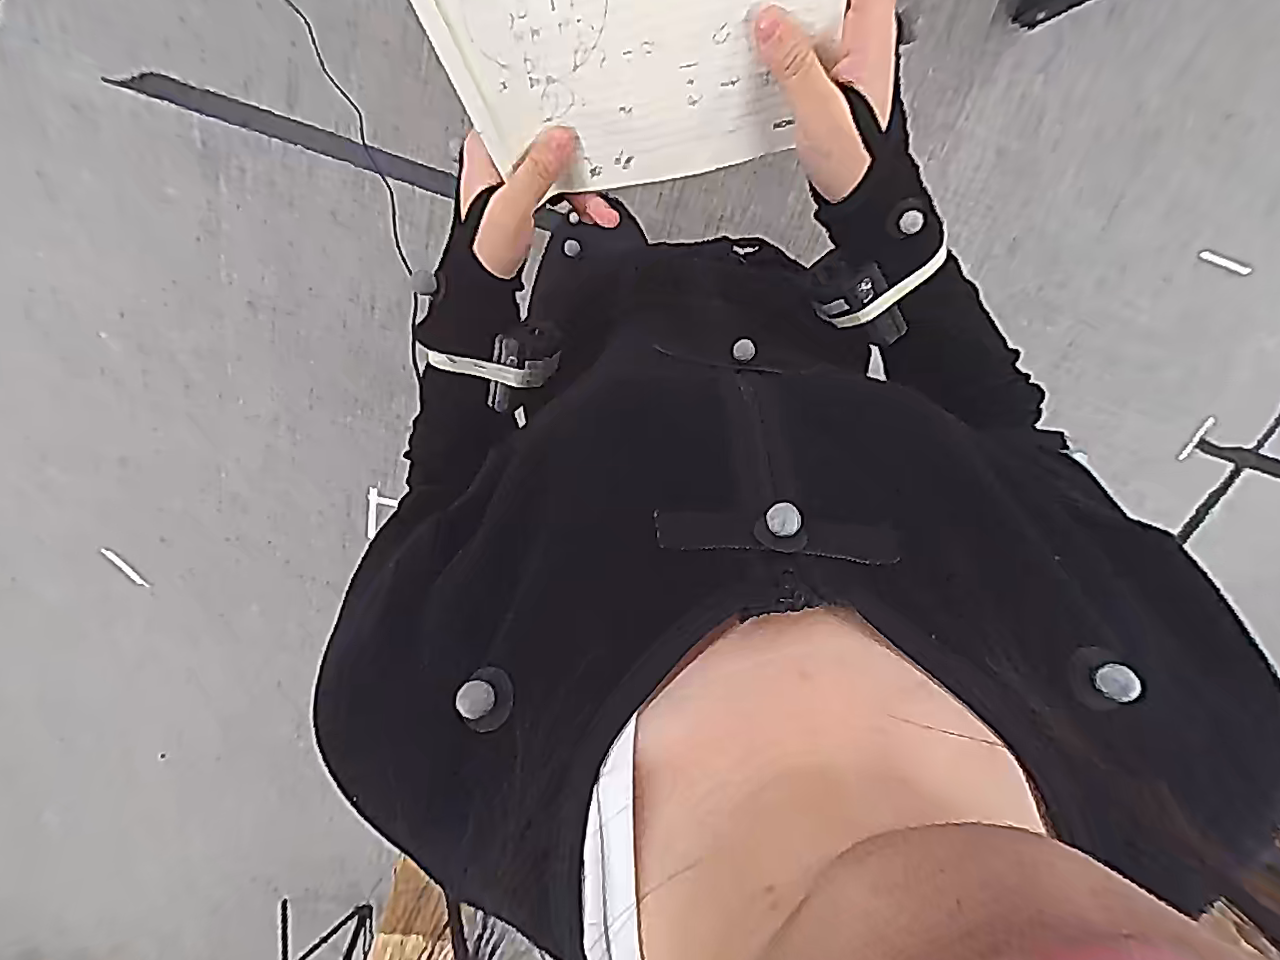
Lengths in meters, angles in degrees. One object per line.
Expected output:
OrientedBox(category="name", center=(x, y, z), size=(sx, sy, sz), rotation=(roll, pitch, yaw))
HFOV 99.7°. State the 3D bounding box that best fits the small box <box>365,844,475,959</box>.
OrientedBox(category="small box", center=(-0.484, 0.958, 1.207), size=(0.168, 0.176, 0.179), rotation=(19, 114, -11))
